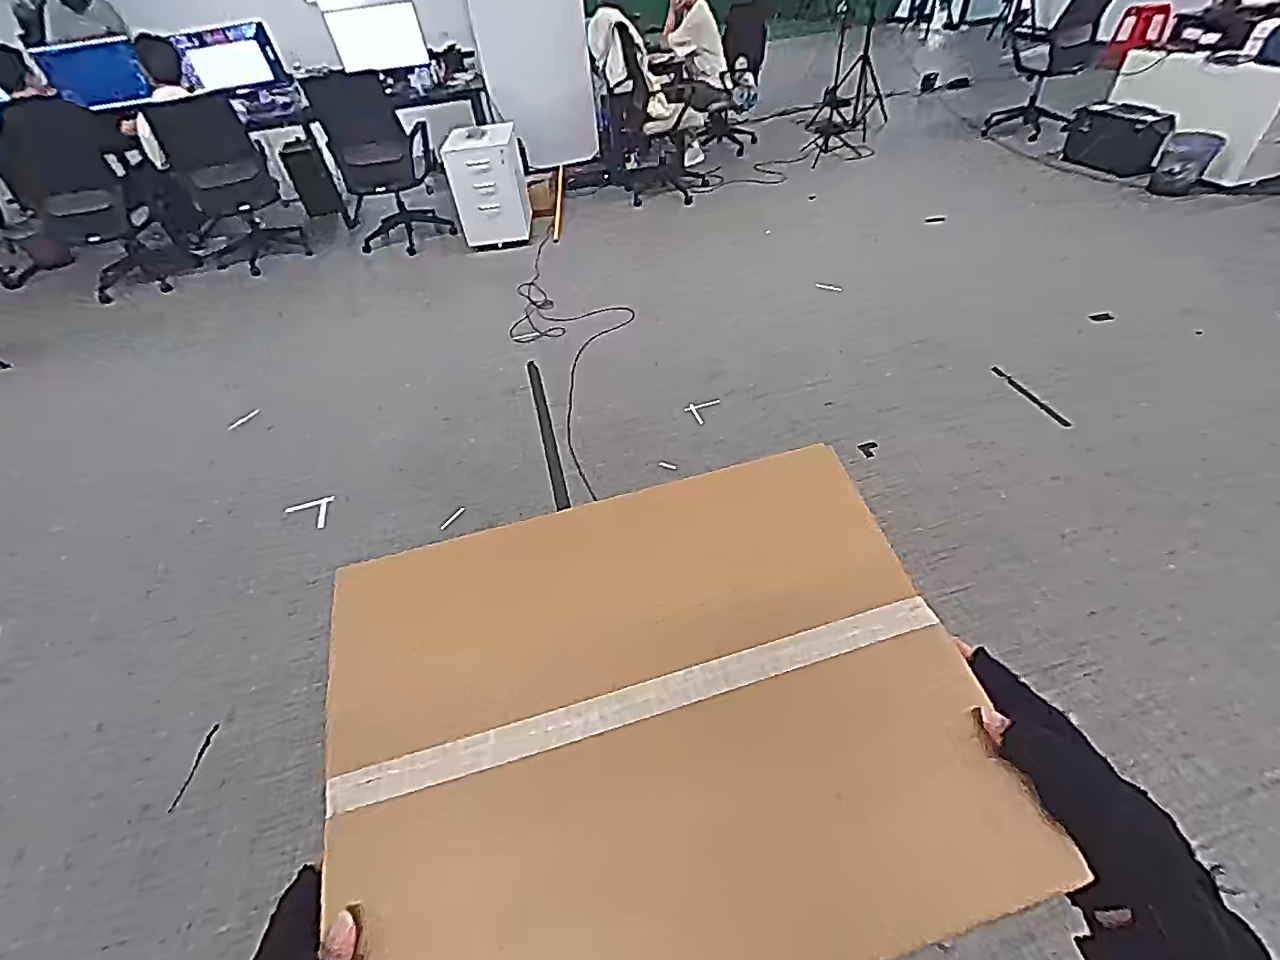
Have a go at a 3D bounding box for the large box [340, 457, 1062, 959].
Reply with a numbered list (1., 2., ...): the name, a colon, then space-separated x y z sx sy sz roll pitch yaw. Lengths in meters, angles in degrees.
1. large box: 0.016 0.233 0.480 0.408 0.320 0.320 -15 56 -6
